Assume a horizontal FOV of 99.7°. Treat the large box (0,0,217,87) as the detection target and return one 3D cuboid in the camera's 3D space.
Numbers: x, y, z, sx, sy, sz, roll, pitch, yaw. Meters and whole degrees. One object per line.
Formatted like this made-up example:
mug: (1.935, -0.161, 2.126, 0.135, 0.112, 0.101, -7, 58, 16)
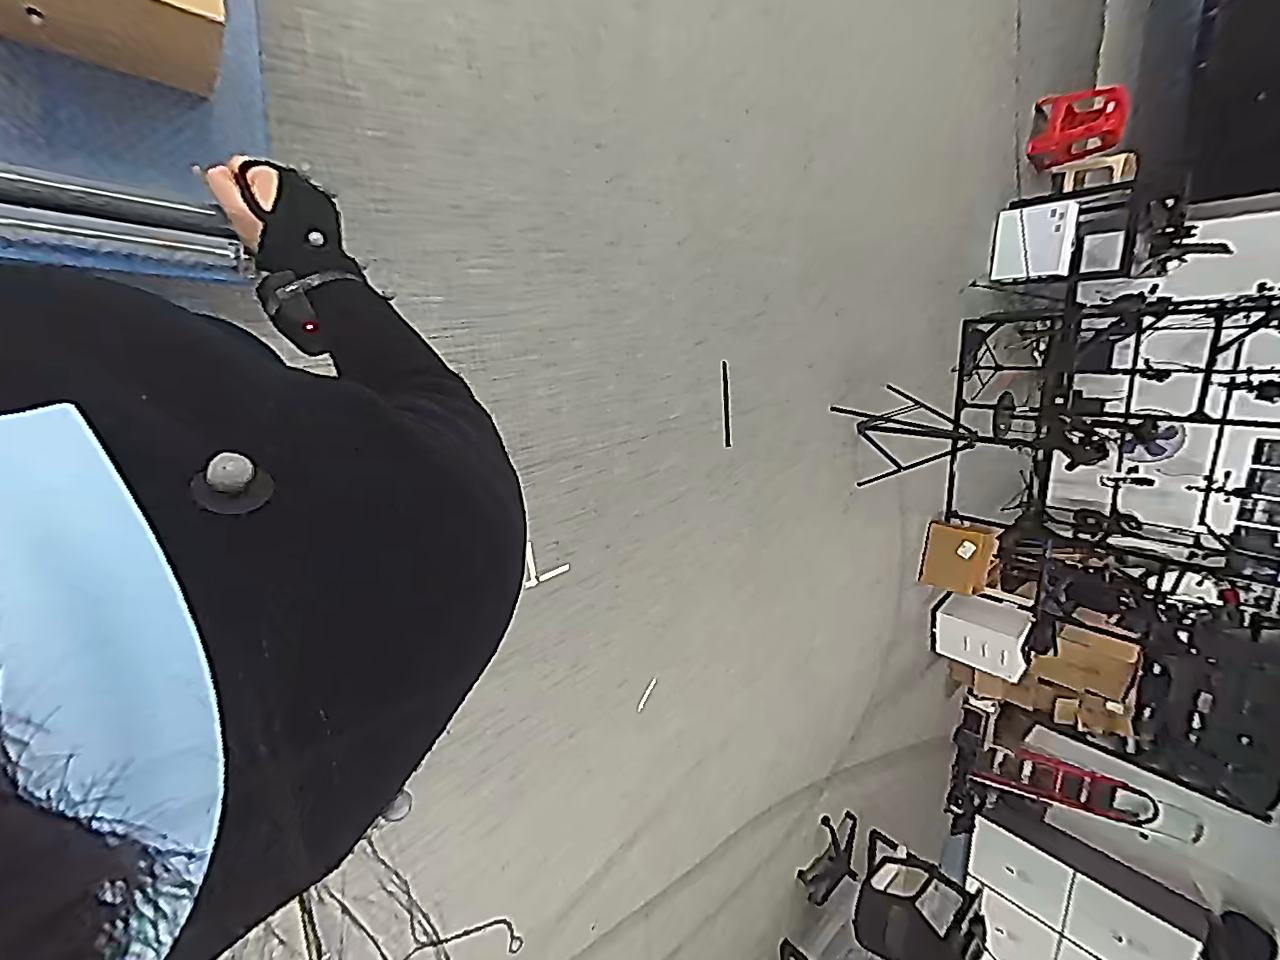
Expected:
large box: (-0.827, -0.799, 0.706, 0.408, 0.320, 0.320, -6, 104, -40)
